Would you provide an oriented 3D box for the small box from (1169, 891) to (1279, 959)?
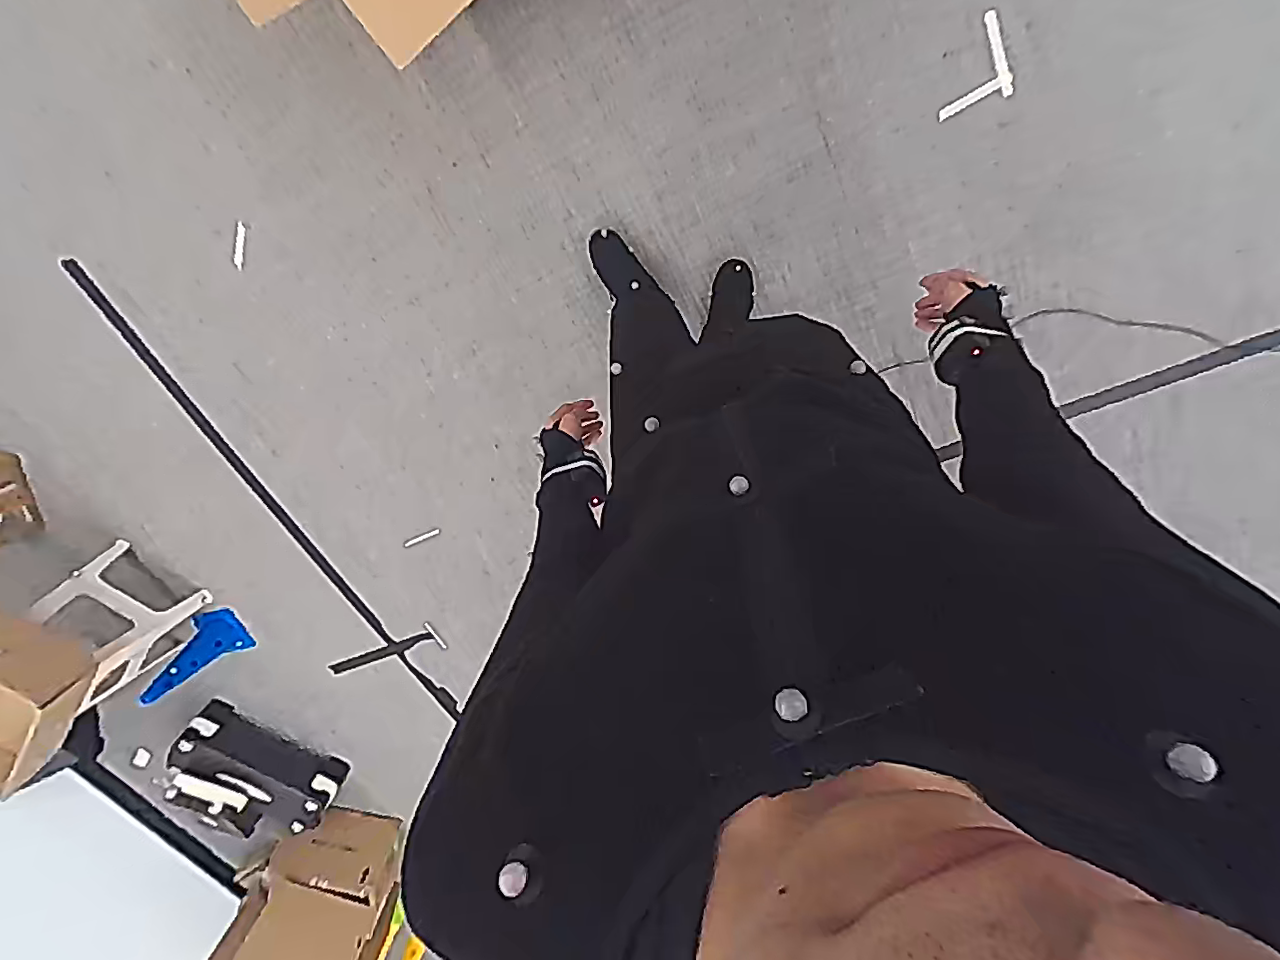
[{"bbox_3d":[1.344,1.020,1.198,0.179,0.176,0.168,-26,110,16],"label":"small box"}]
